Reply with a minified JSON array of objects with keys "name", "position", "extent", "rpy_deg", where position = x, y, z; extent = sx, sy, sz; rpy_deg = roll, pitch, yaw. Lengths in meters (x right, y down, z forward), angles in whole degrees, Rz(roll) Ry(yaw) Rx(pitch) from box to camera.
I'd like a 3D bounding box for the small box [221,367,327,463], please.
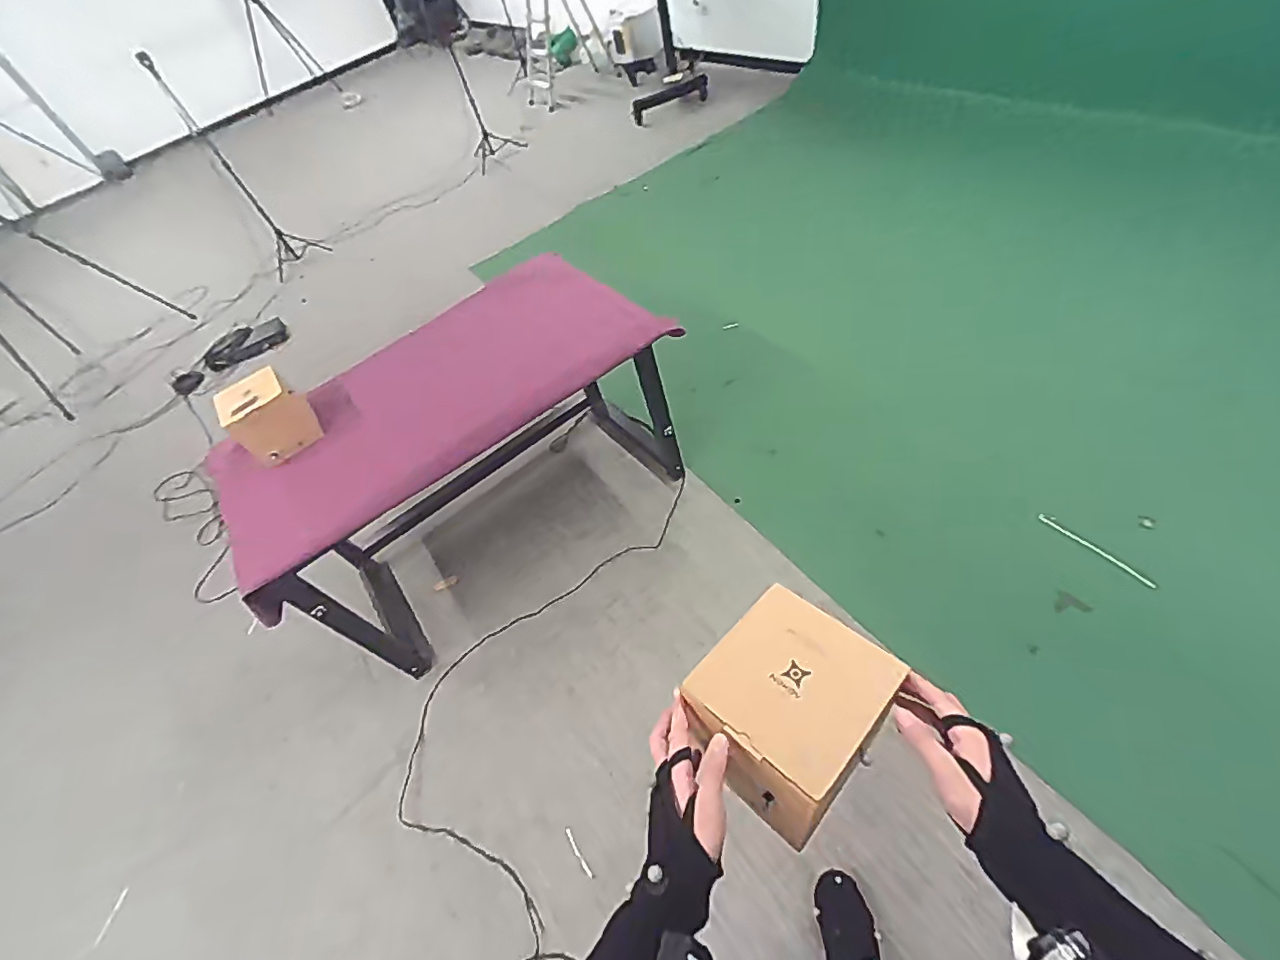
[{"name":"small box","position":[-0.996,-0.172,1.482],"extent":[0.168,0.176,0.179],"rpy_deg":[-36,52,-14]}]
